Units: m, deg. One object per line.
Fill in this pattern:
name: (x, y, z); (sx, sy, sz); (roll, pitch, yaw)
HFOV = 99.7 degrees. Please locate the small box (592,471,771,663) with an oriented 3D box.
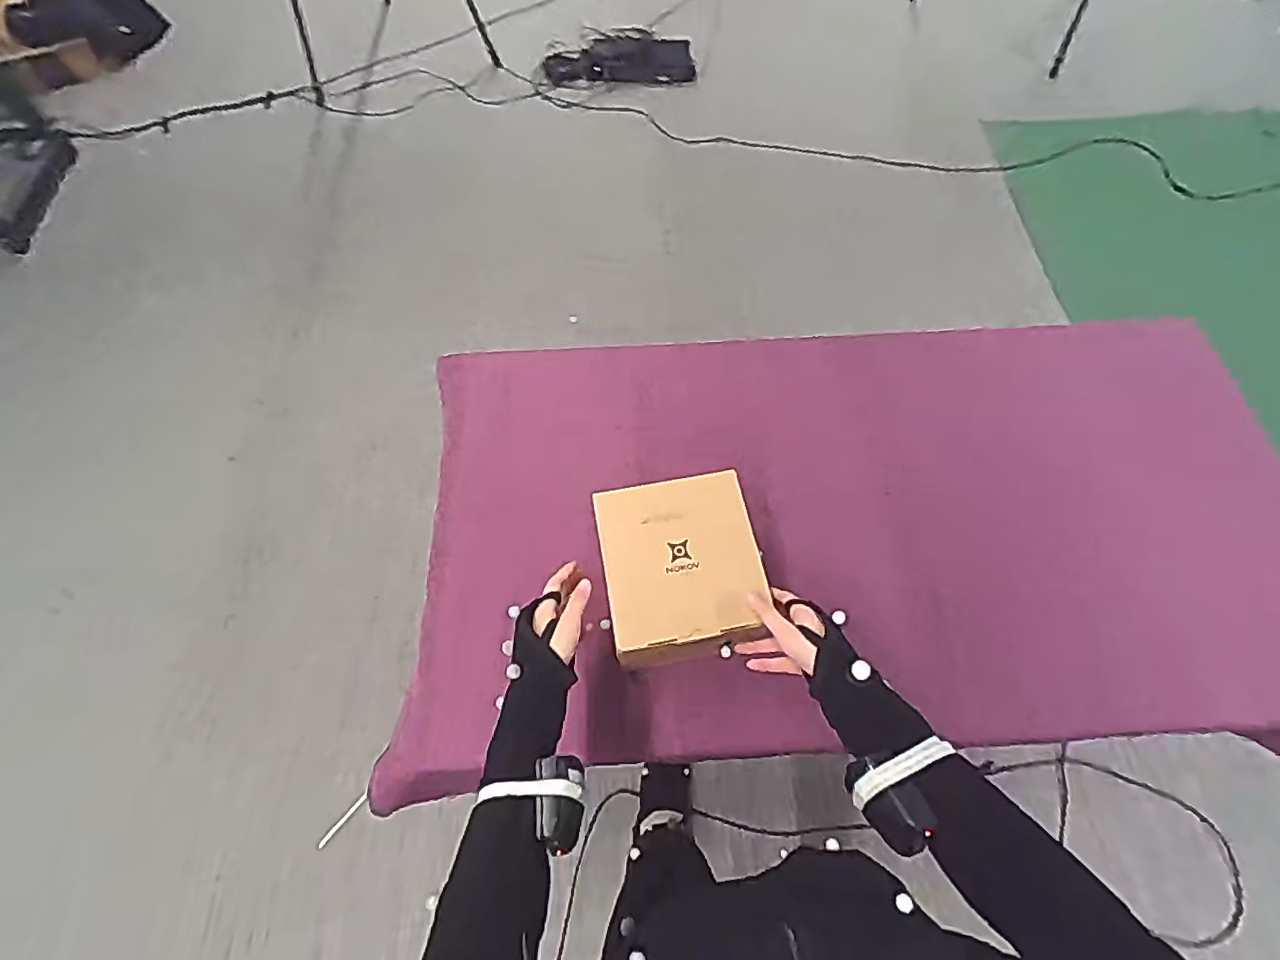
small box: (0.041, 0.112, 0.641); (0.168, 0.176, 0.179); (-9, 65, -4)
